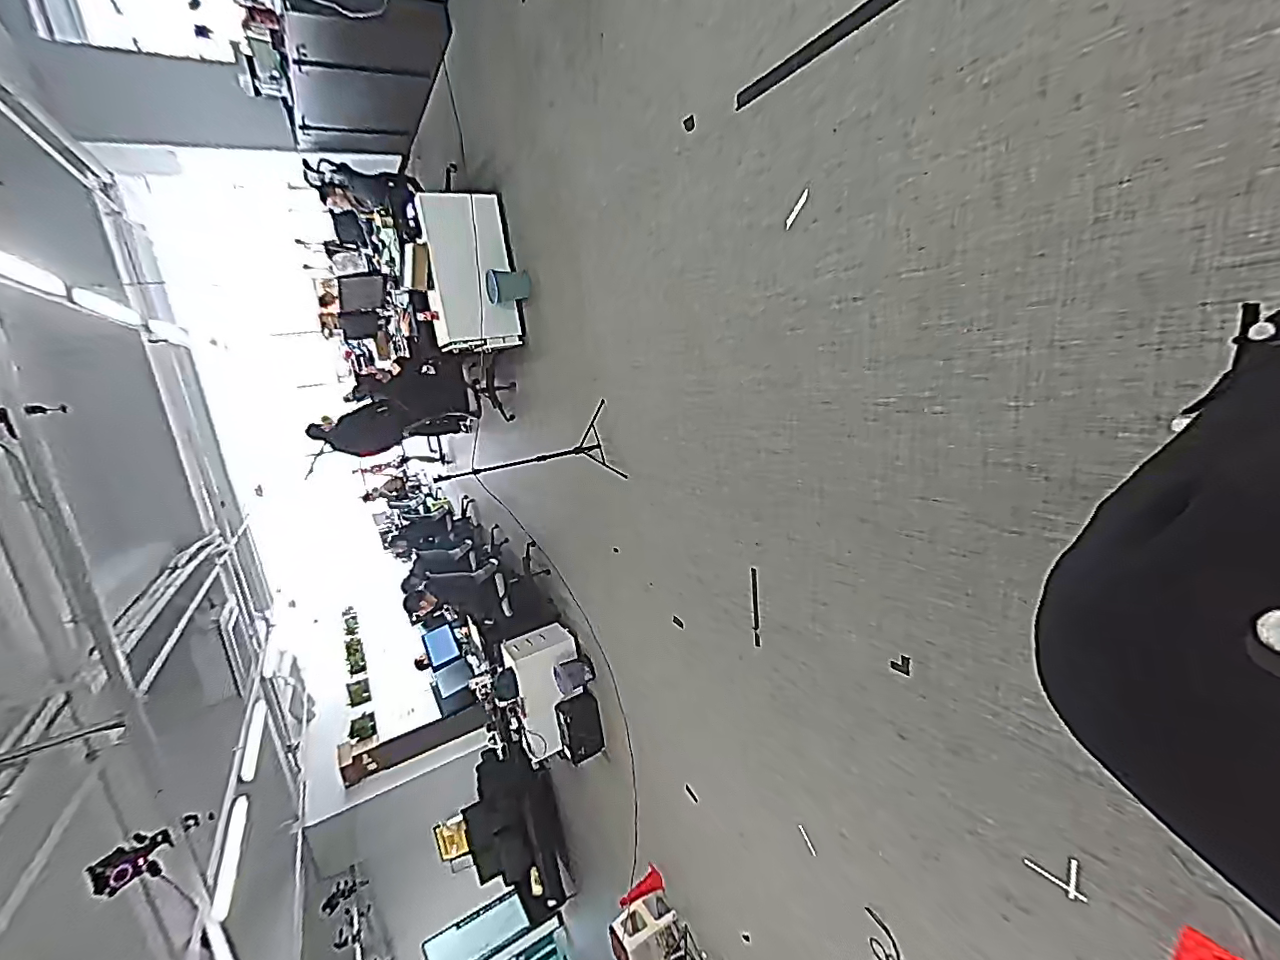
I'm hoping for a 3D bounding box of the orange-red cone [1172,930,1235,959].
[{"bbox_3d":[1.201,1.205,1.152,0.199,0.360,0.198,25,123,57],"label":"orange-red cone"}]
